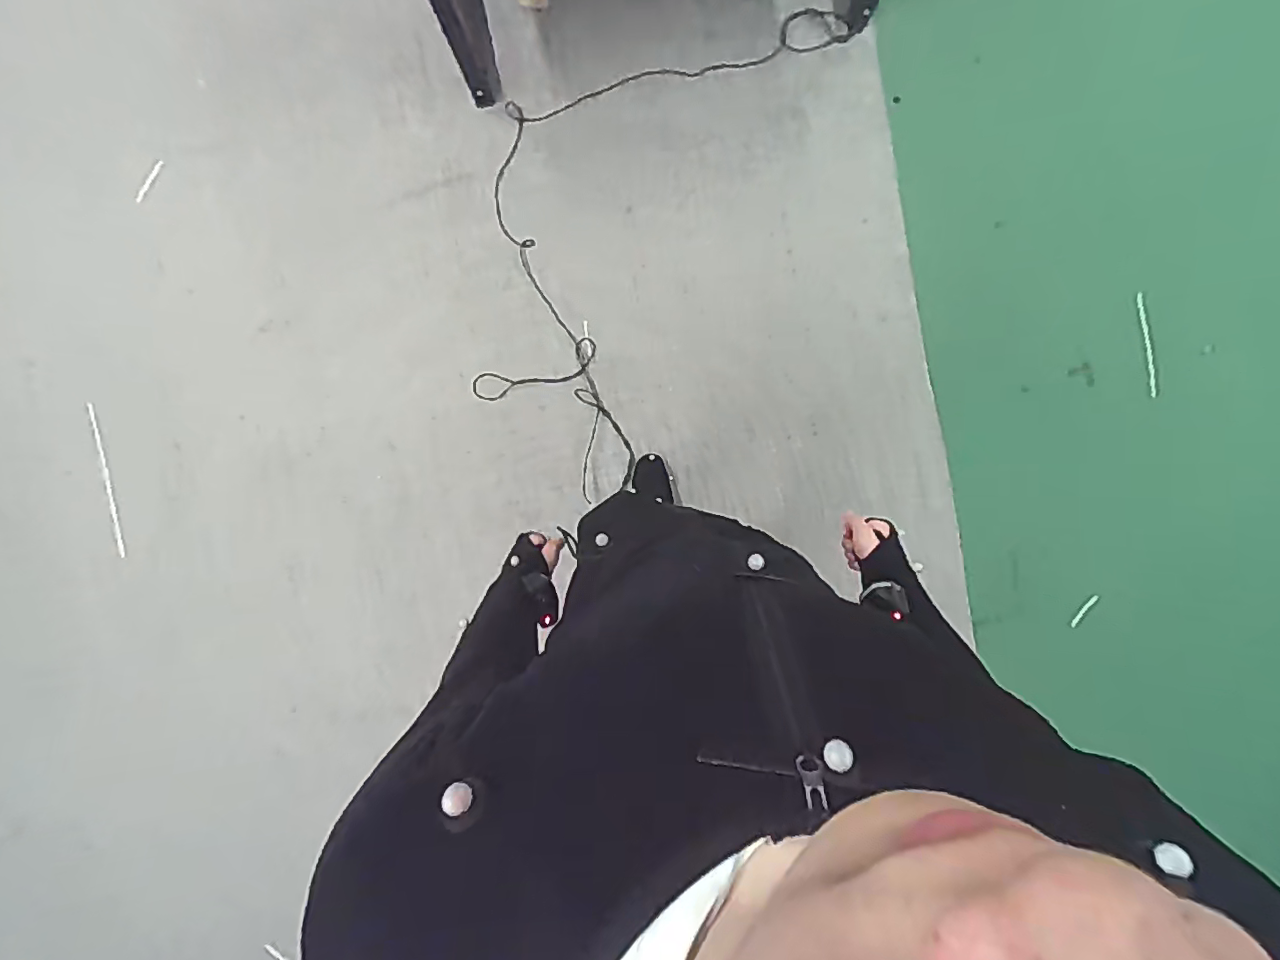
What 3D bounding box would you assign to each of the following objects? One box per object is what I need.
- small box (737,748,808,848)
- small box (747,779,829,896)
[{"bbox_3d":[0.373,0.888,1.520,0.168,0.176,0.179,-6,92,1],"label":"small box"},{"bbox_3d":[0.372,0.889,1.356,0.168,0.176,0.179,-6,91,0],"label":"small box"}]
